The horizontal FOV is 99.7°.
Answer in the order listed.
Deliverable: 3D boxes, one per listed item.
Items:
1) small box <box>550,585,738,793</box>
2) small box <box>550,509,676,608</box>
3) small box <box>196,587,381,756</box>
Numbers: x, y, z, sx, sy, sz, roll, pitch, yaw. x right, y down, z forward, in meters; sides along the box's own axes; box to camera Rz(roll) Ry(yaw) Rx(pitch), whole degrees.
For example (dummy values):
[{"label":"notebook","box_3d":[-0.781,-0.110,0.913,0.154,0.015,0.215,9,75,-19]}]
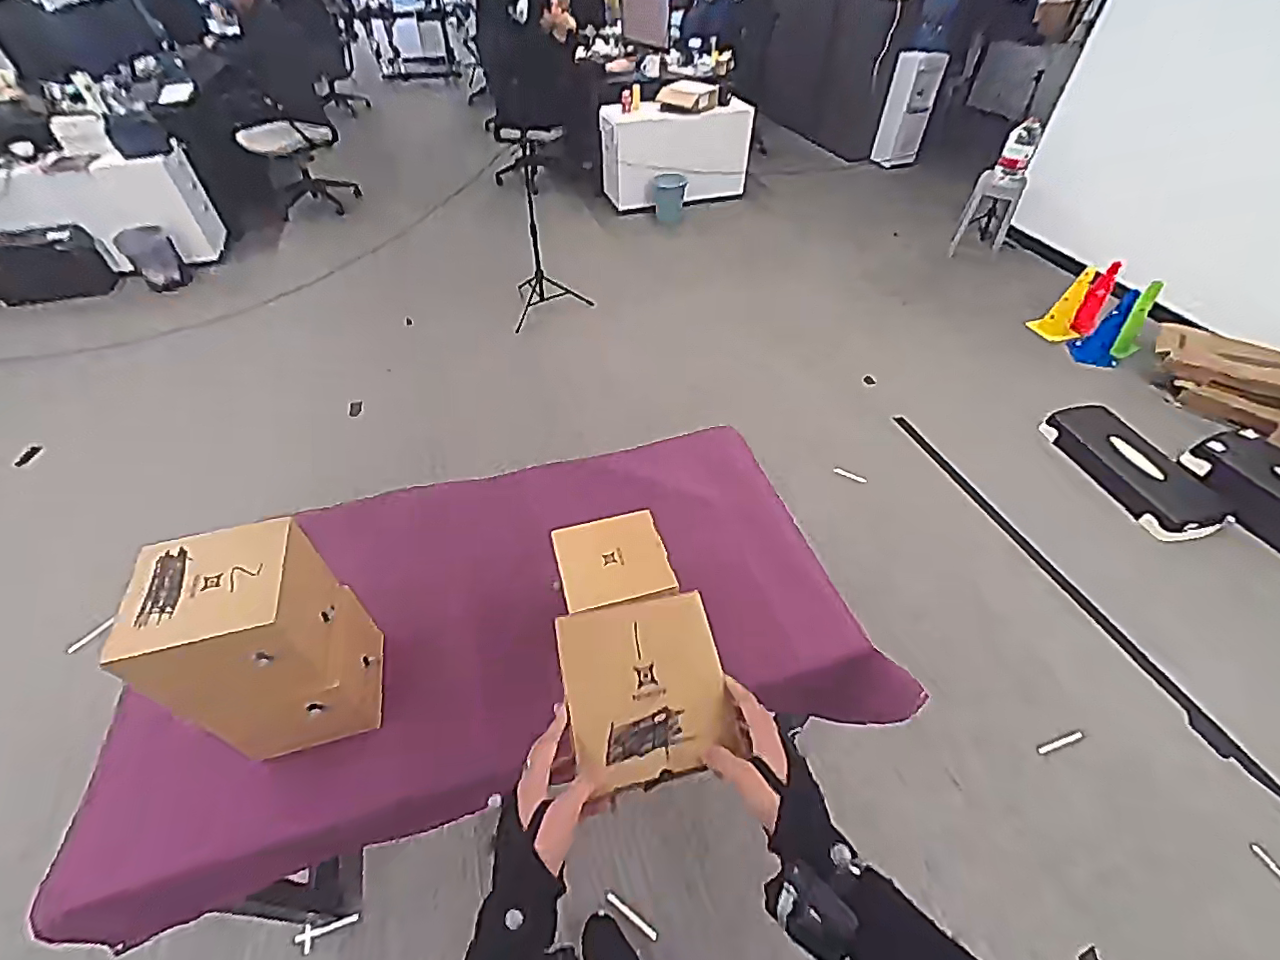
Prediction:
[{"label":"small box","box_3d":[-0.006,0.243,0.620,0.168,0.176,0.179,-9,59,-12]},{"label":"small box","box_3d":[-0.047,0.180,0.929,0.179,0.176,0.168,-12,48,-12]},{"label":"small box","box_3d":[-0.509,0.290,0.819,0.179,0.176,0.168,-12,48,-11]}]
